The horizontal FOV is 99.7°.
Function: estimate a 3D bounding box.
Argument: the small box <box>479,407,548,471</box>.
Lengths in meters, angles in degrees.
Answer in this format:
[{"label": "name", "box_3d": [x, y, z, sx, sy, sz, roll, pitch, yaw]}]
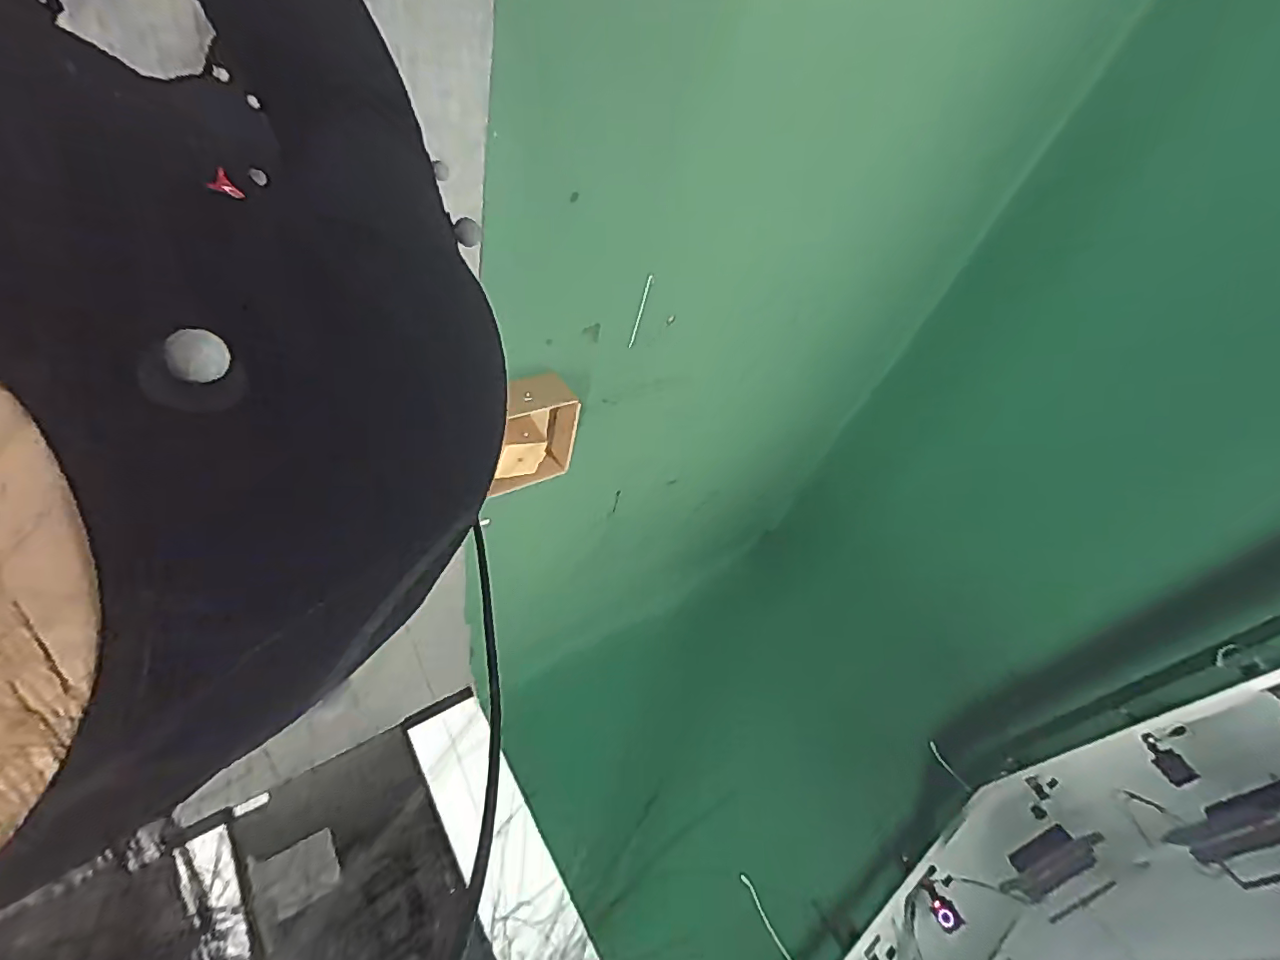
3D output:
[{"label": "small box", "box_3d": [-0.476, -0.156, 2.010, 0.179, 0.176, 0.168, -10, 142, -41]}]
